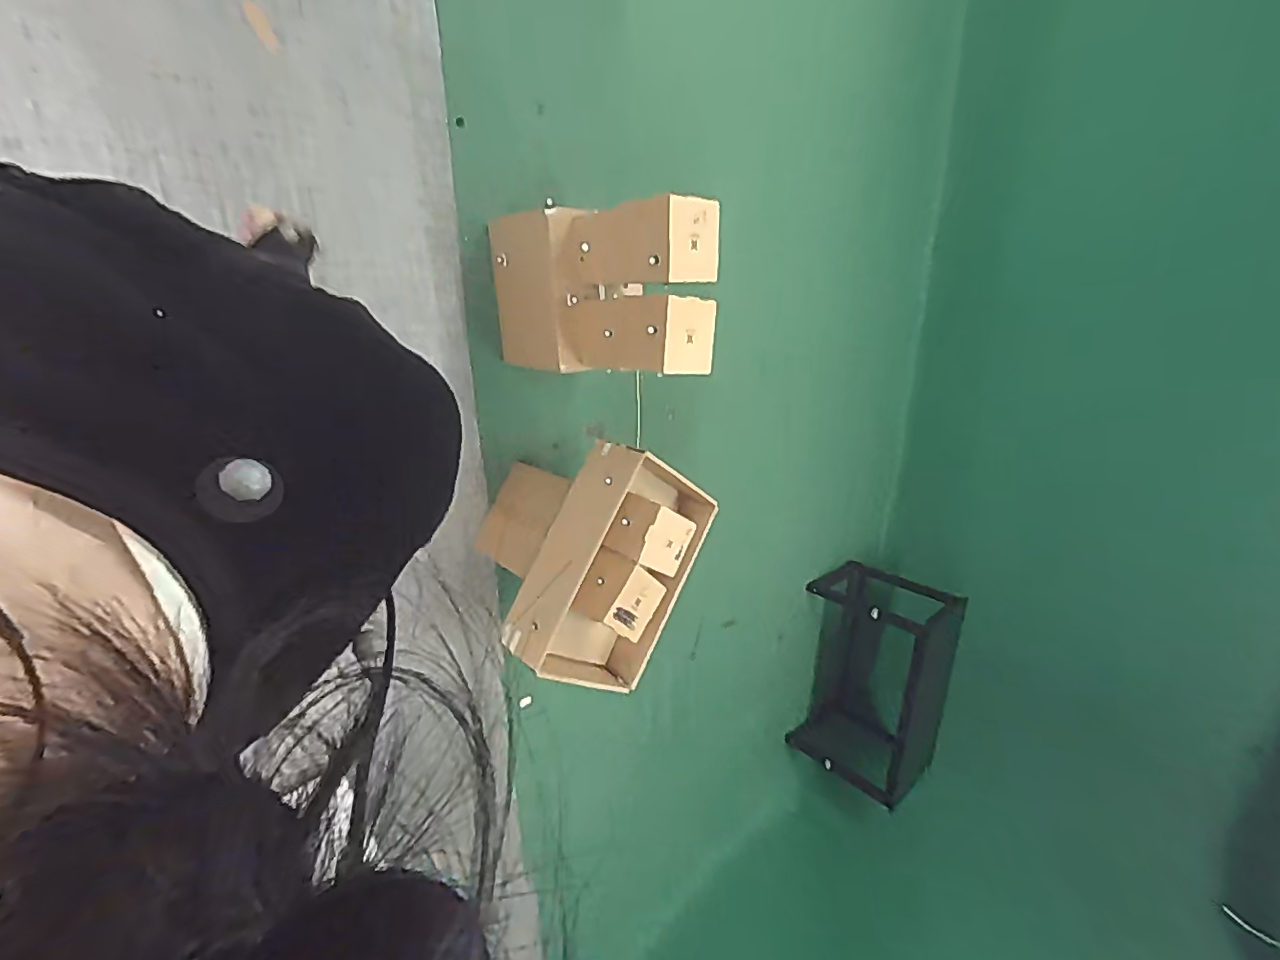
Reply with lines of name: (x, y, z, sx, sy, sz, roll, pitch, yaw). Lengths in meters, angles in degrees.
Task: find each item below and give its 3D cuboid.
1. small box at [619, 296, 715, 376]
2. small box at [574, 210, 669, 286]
small box: (0.062, -0.350, 1.323, 0.168, 0.176, 0.179, -9, 108, -41)
small box: (-0.046, -0.586, 1.375, 0.179, 0.176, 0.168, -20, 117, -38)
